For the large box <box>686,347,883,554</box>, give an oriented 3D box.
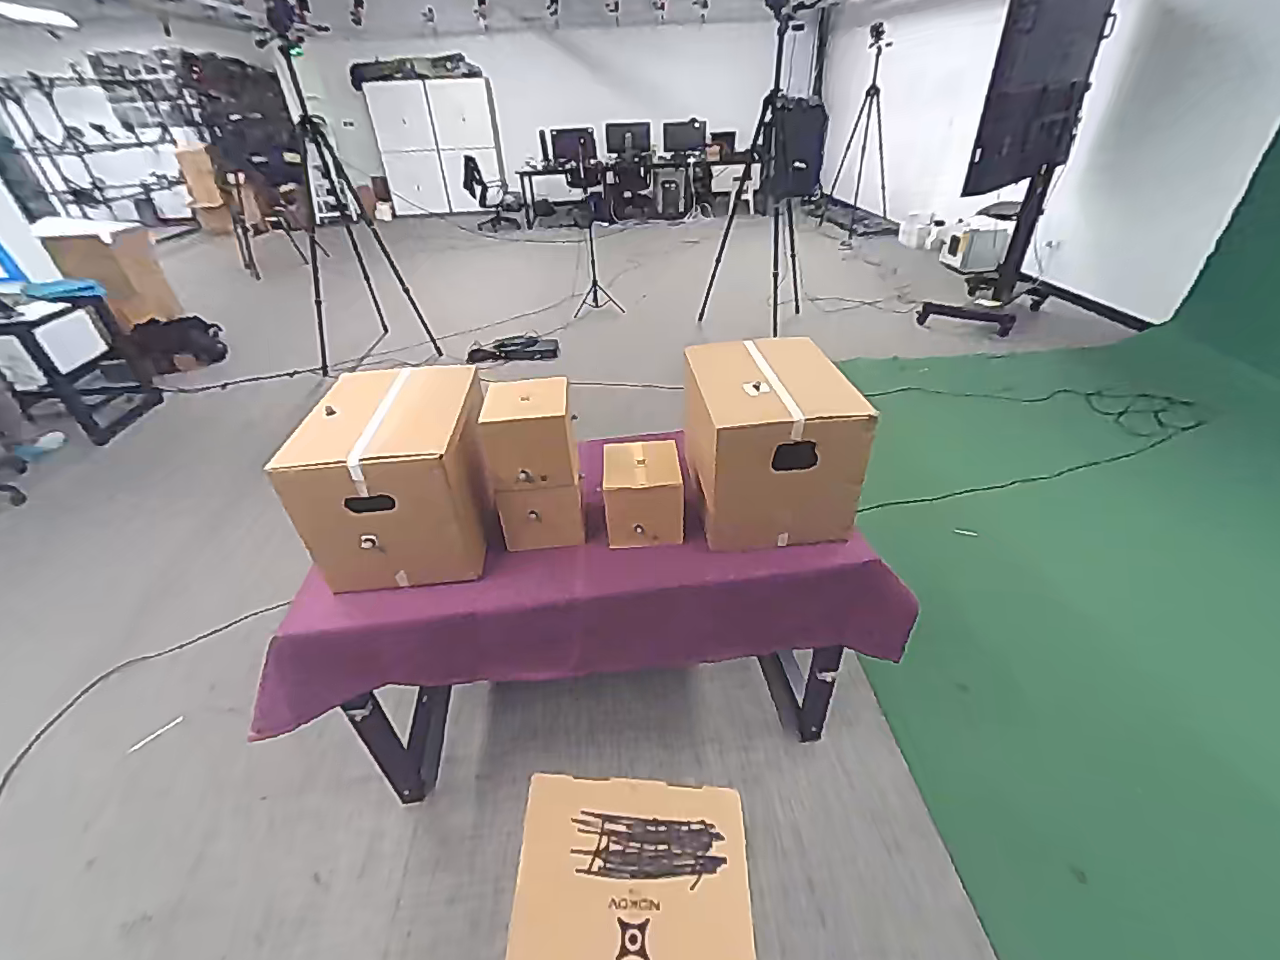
[{"bbox_3d":[0.291,-0.084,1.251,0.320,0.320,0.408,-4,36,-2],"label":"large box"}]
